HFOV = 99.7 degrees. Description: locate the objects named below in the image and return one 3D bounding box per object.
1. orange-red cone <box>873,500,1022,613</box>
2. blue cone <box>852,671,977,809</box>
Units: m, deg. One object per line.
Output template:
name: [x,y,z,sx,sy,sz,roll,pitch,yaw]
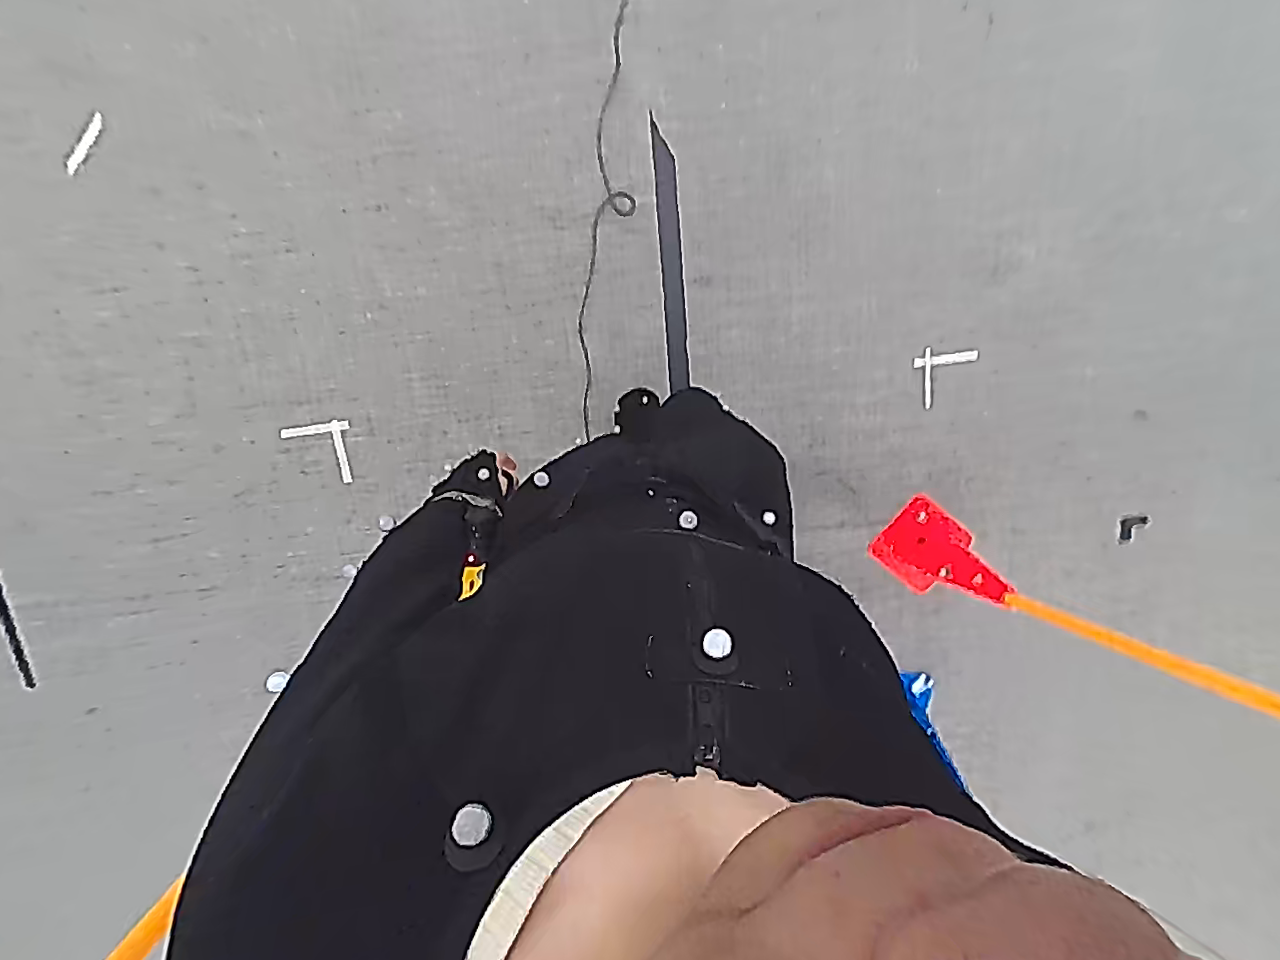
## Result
orange-red cone: [0.710,0.205,1.195,0.198,0.360,0.199,40,99,-5]
blue cone: [0.672,0.637,1.286,0.193,0.380,0.192,10,99,-1]
